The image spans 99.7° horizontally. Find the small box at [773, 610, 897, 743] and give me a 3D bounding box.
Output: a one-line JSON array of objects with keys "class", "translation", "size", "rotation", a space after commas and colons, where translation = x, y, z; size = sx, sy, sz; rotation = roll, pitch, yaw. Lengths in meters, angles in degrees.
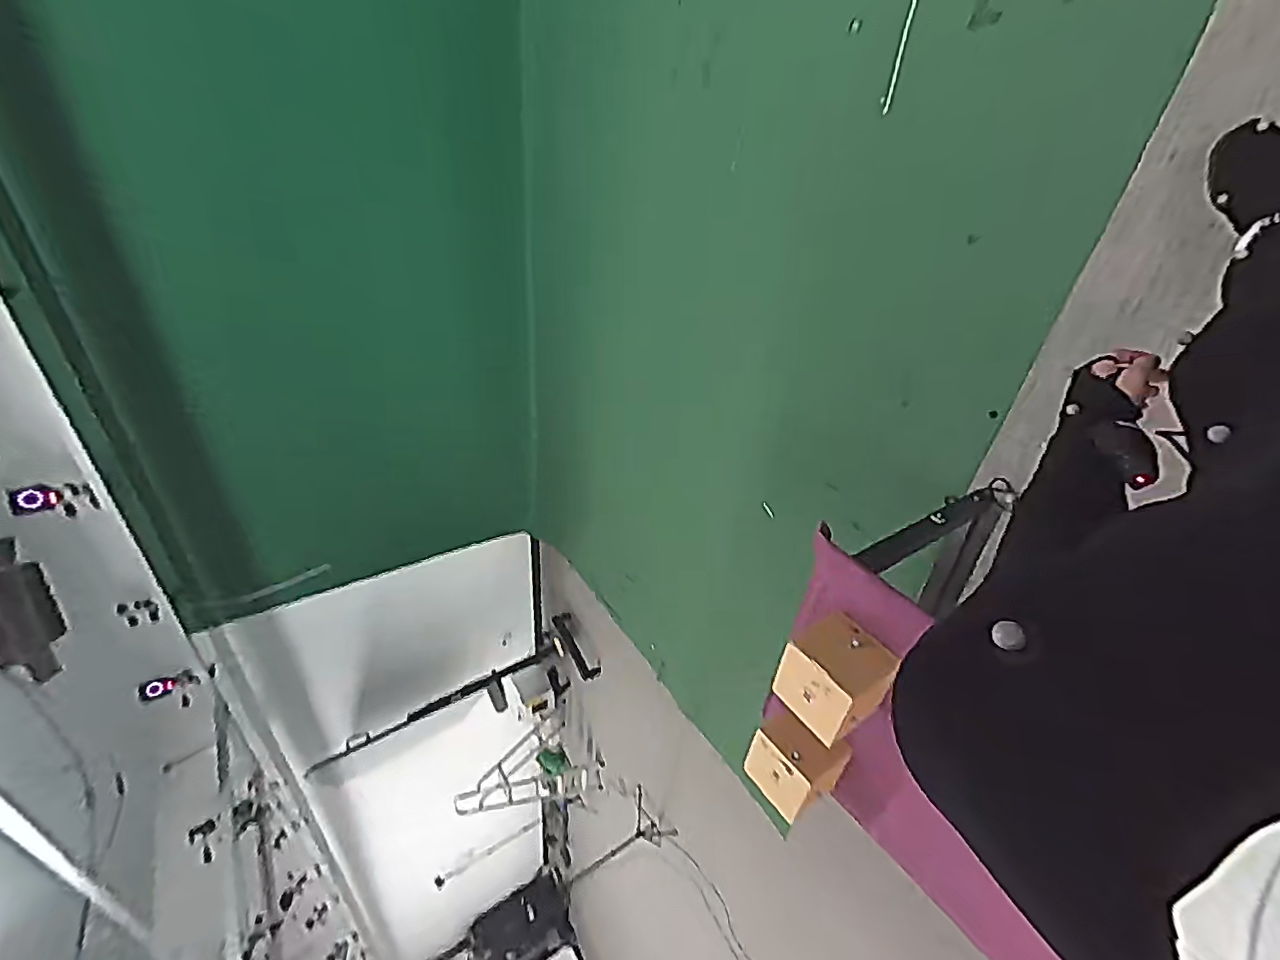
[{"class": "small box", "translation": [0.420, 0.417, 1.169], "size": [0.168, 0.176, 0.179], "rotation": [41, 138, 40]}]

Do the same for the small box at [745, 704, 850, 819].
[{"class": "small box", "translation": [0.391, 0.686, 1.343], "size": [0.168, 0.176, 0.179], "rotation": [39, 134, 40]}]
